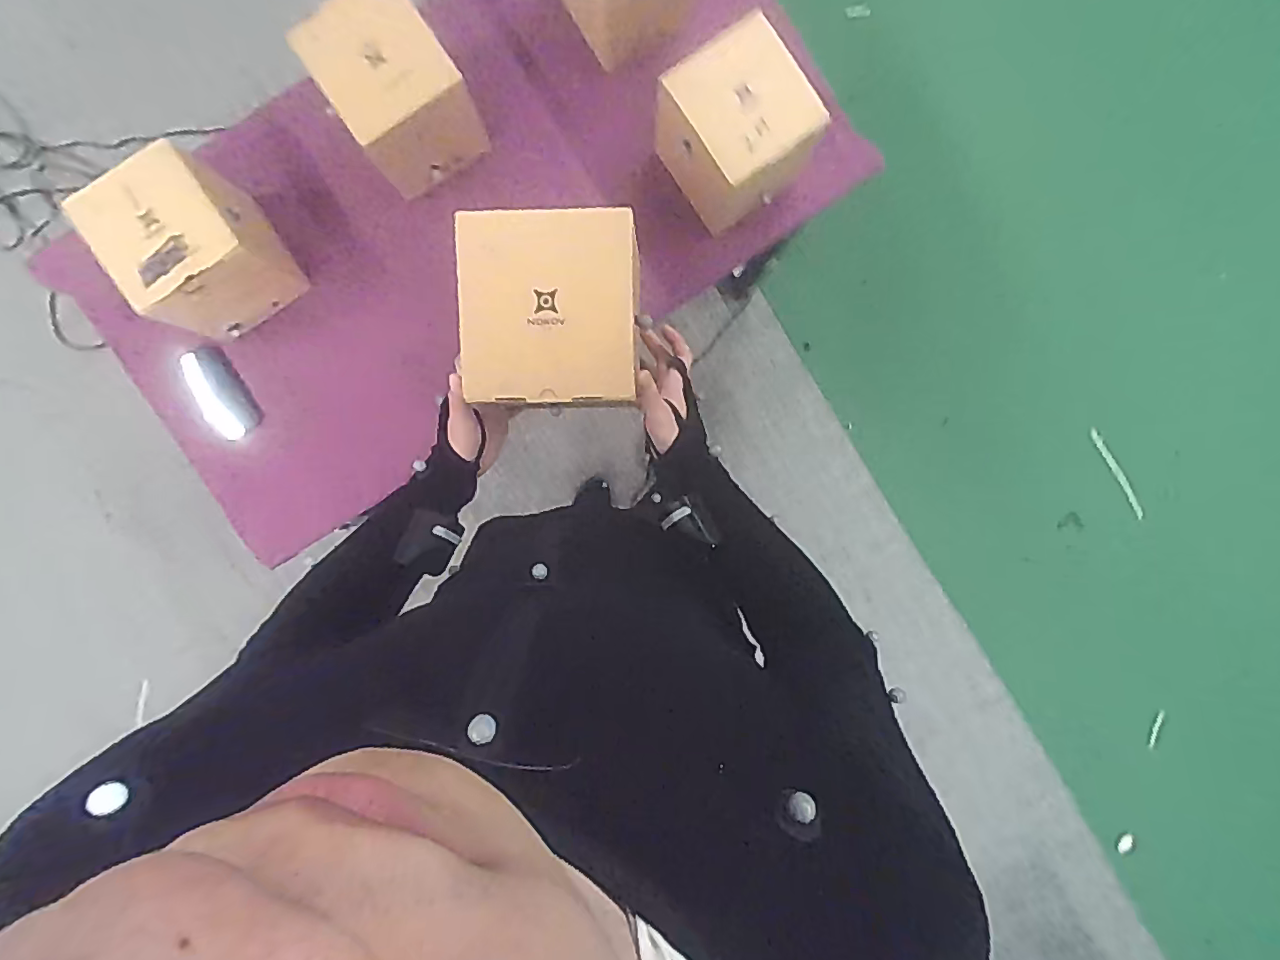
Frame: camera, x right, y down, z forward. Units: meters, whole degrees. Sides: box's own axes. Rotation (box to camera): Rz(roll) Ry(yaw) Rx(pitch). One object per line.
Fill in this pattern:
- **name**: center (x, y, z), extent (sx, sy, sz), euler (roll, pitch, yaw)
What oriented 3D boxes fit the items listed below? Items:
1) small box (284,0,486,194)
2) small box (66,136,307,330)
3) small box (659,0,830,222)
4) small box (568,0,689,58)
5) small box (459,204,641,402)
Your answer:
- **small box**: center (-0.355, -0.567, 0.790), extent (0.168, 0.176, 0.179), euler (-34, 93, 1)
- **small box**: center (-0.642, -0.340, 0.792), extent (0.168, 0.176, 0.179), euler (-35, 92, 0)
- **small box**: center (0.138, -0.524, 0.795), extent (0.168, 0.176, 0.179), euler (-35, 93, 2)
- **small box**: center (-0.032, -0.783, 0.786), extent (0.168, 0.176, 0.179), euler (-33, 92, 1)
- **small box**: center (-0.084, -0.174, 0.581), extent (0.168, 0.176, 0.179), euler (0, 98, 2)
